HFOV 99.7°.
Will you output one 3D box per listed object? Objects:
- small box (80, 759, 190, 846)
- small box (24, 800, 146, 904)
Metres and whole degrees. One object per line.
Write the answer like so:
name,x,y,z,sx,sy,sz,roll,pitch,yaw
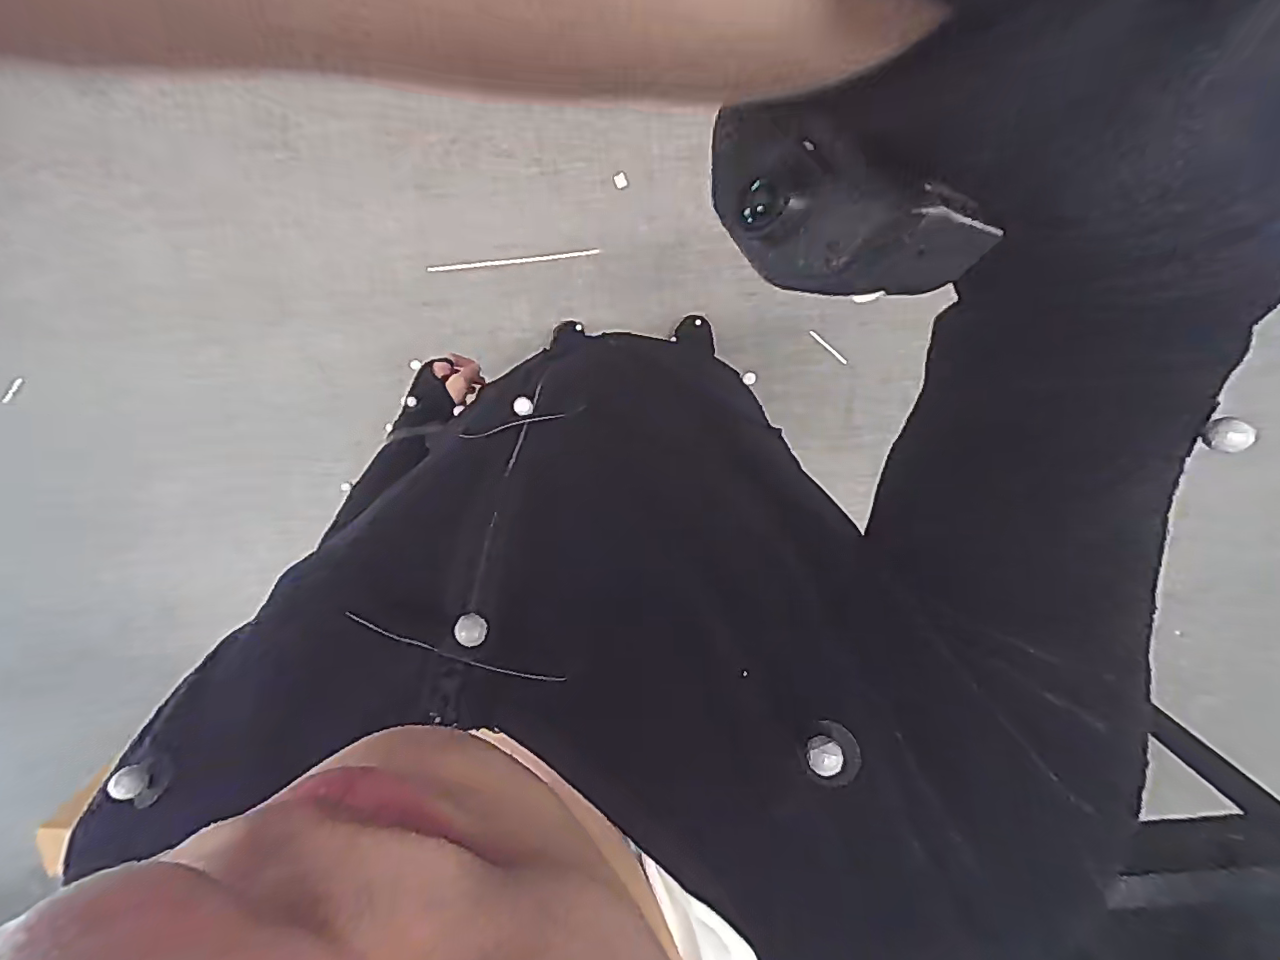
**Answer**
small box,-1.557,0.995,1.678,0.168,0.176,0.179,1,106,0
small box,-1.548,1.043,1.523,0.168,0.176,0.179,4,106,-2
